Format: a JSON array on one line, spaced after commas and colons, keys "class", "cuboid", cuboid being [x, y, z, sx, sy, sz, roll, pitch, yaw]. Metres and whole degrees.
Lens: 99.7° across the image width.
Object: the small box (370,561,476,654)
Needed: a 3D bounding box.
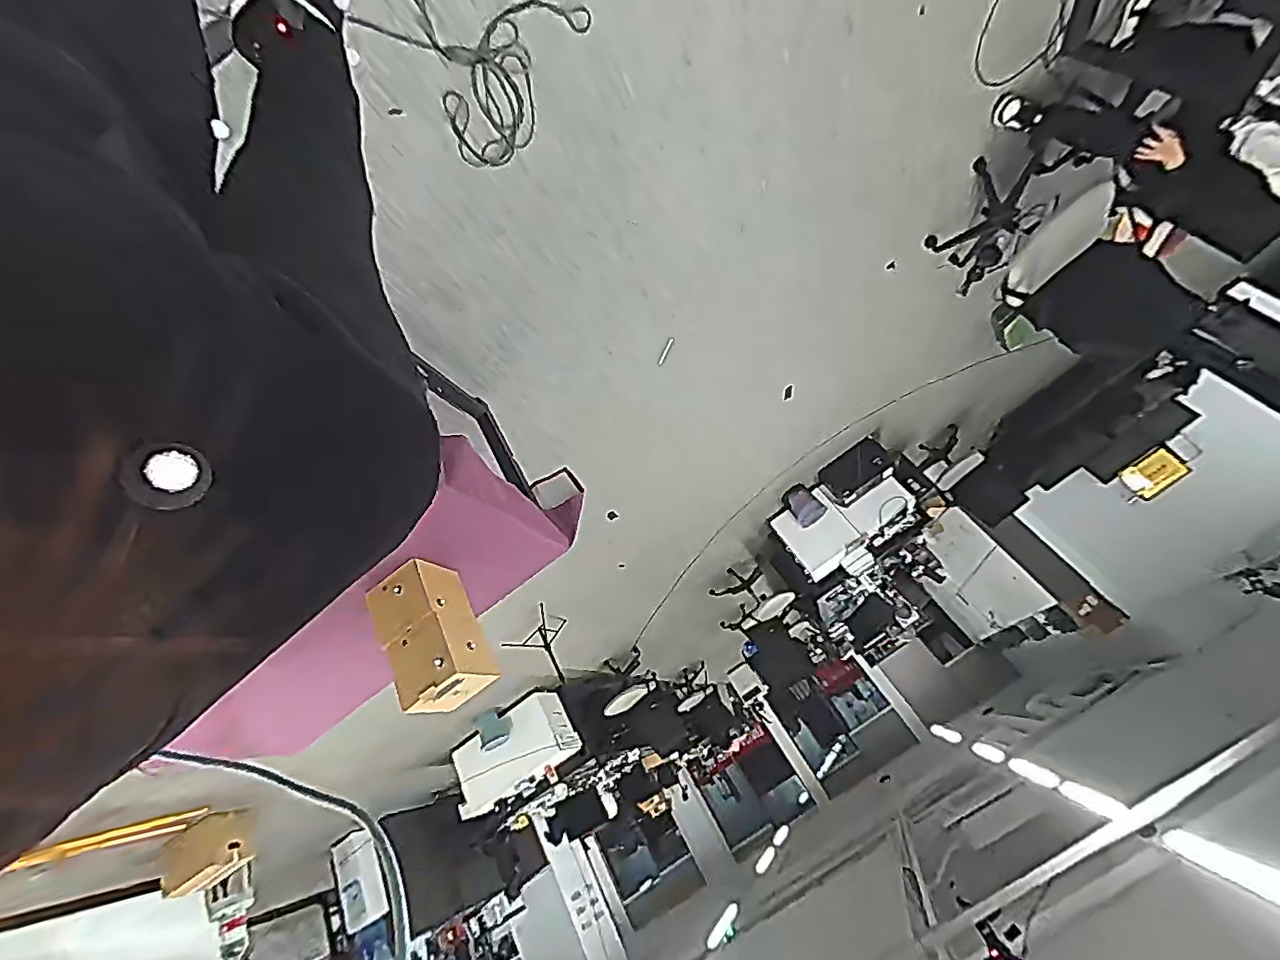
[{"class": "small box", "cuboid": [-0.569, 0.336, 1.421, 0.168, 0.176, 0.179, -37, 150, 5]}]
